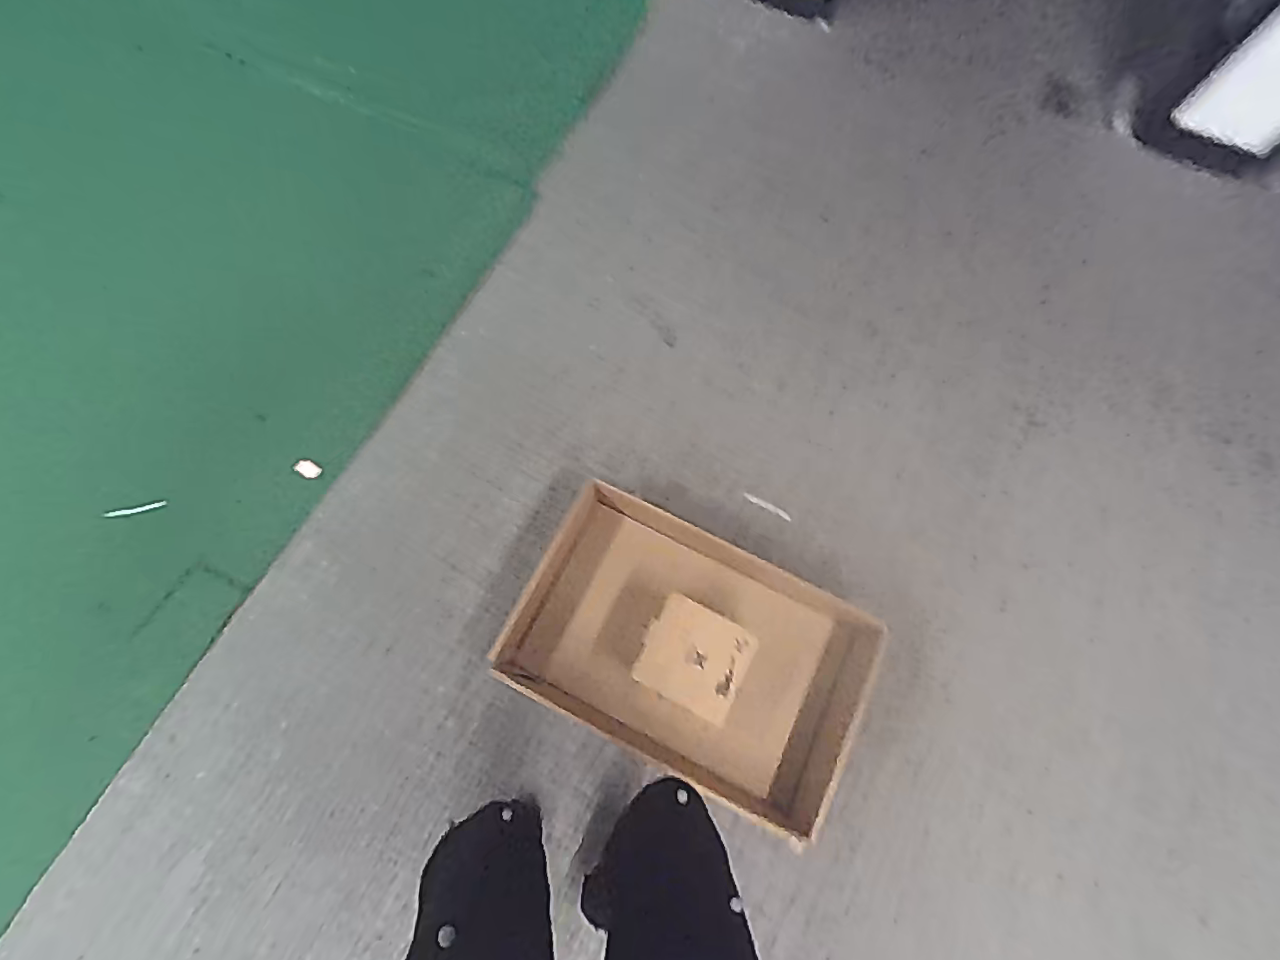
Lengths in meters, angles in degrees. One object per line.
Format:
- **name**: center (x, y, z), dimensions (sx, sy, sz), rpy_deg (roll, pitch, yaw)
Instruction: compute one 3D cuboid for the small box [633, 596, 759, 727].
- **small box**: center (0.096, 0.337, 1.012), dimensions (0.179, 0.176, 0.168), rpy_deg (25, 73, 7)
